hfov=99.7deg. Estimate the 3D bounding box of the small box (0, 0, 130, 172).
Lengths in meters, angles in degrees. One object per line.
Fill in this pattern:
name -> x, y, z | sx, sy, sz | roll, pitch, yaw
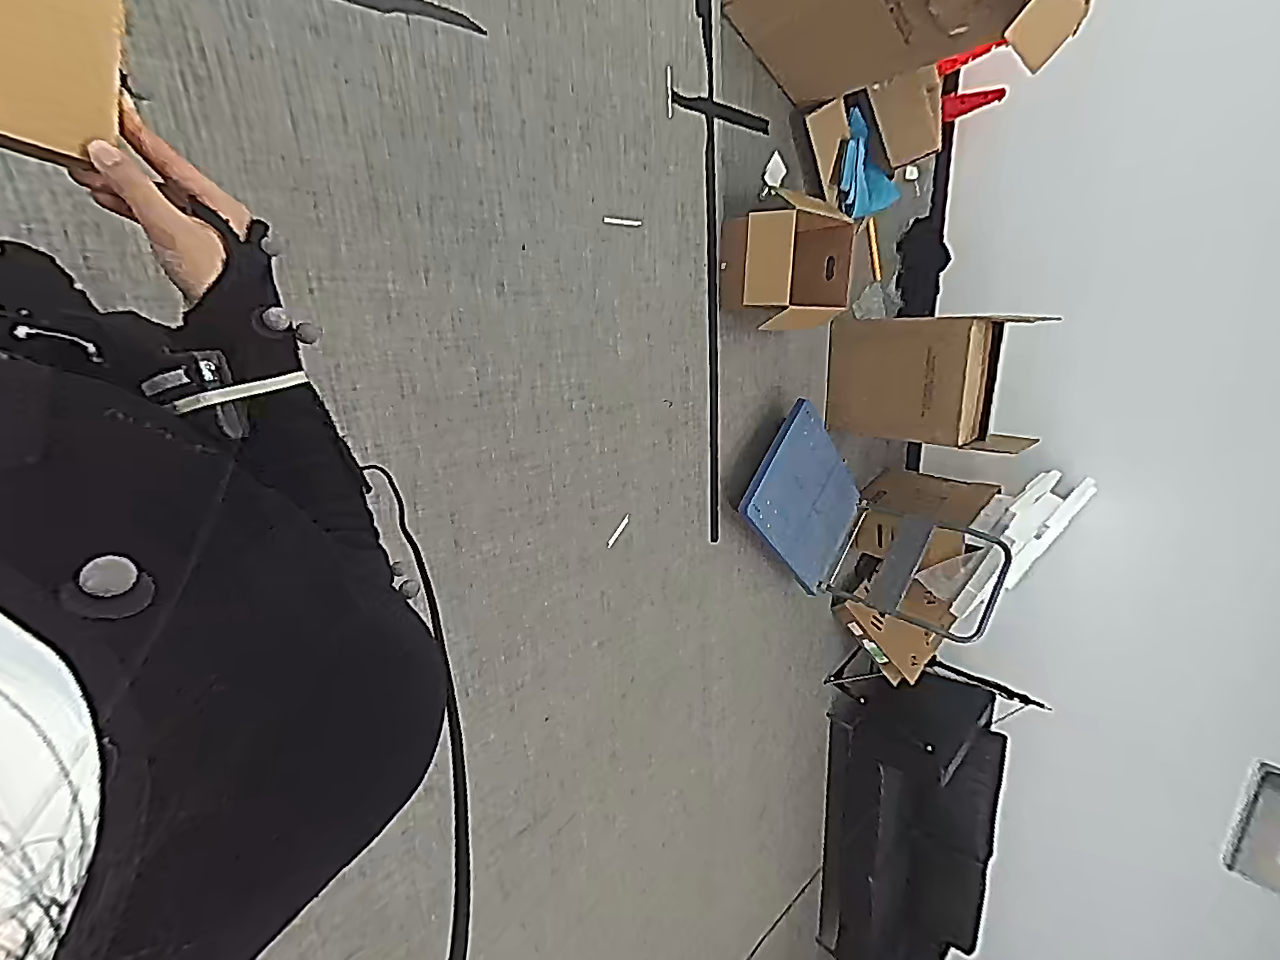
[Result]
small box -> -0.402, -0.291, 0.297 | 0.179, 0.176, 0.168 | 3, 108, -44
